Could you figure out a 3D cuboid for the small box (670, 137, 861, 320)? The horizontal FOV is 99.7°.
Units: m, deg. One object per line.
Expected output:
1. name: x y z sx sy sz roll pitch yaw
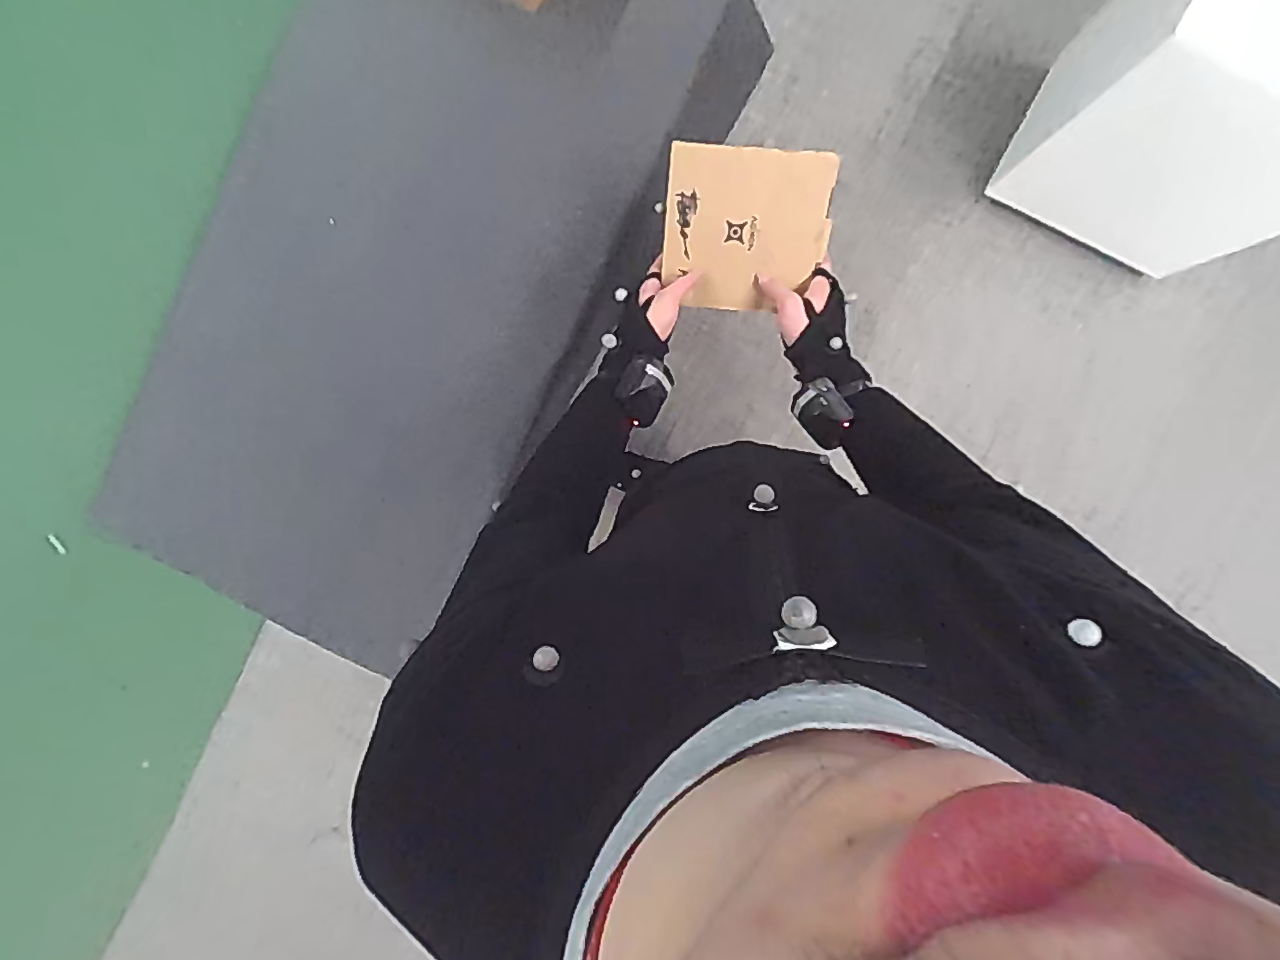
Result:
1. small box: 0.132 -0.298 0.646 0.179 0.176 0.168 6 117 1
